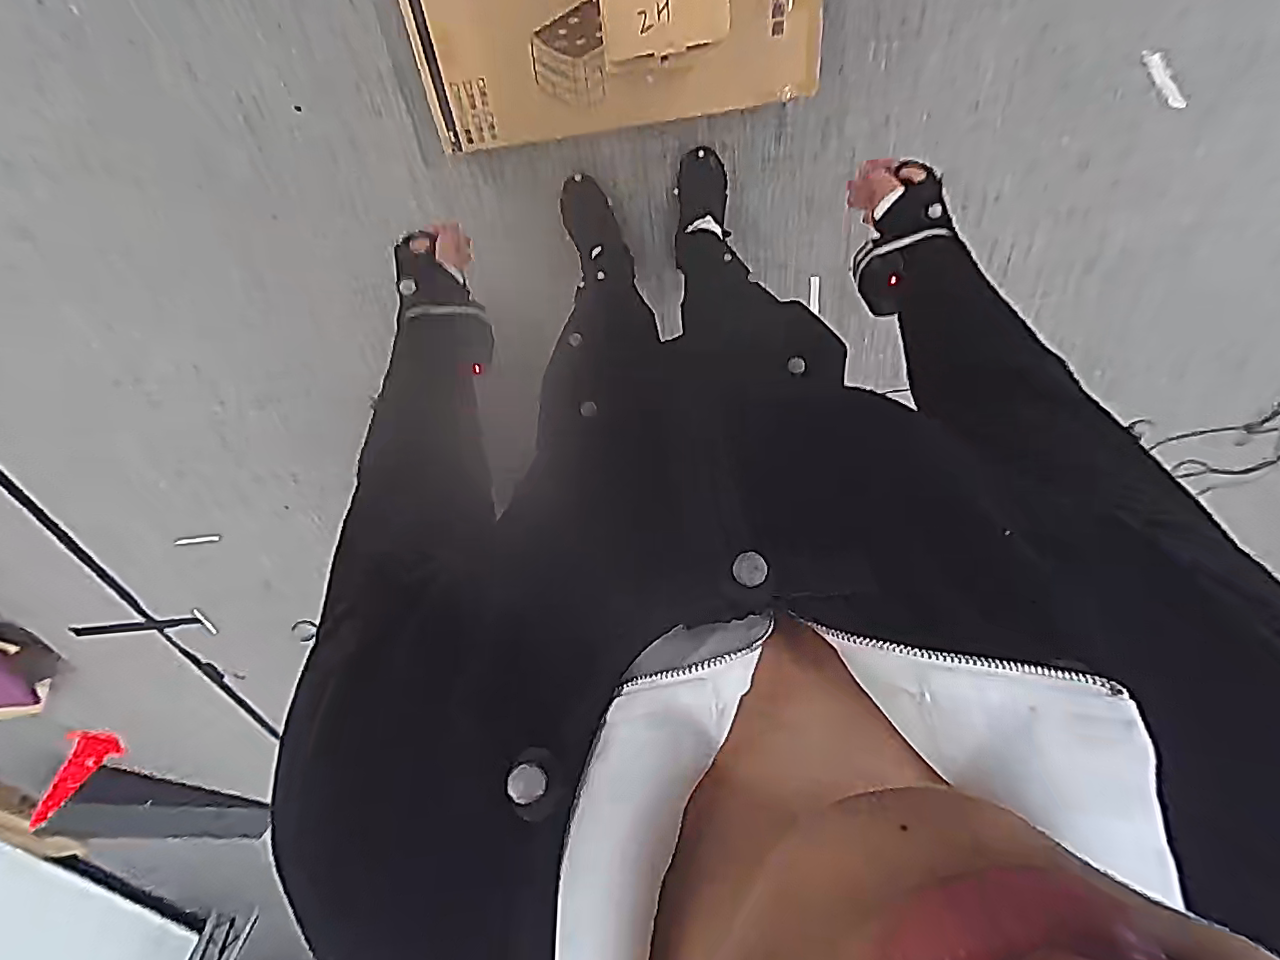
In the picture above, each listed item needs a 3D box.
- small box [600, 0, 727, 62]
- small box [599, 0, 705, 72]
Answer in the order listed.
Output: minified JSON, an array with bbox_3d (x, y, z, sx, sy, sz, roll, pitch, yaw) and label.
[{"bbox_3d":[0.023,-0.700,0.744,0.168,0.176,0.179,-7,126,4],"label":"small box"},{"bbox_3d":[0.016,-0.785,0.886,0.168,0.176,0.179,-4,127,2],"label":"small box"}]
